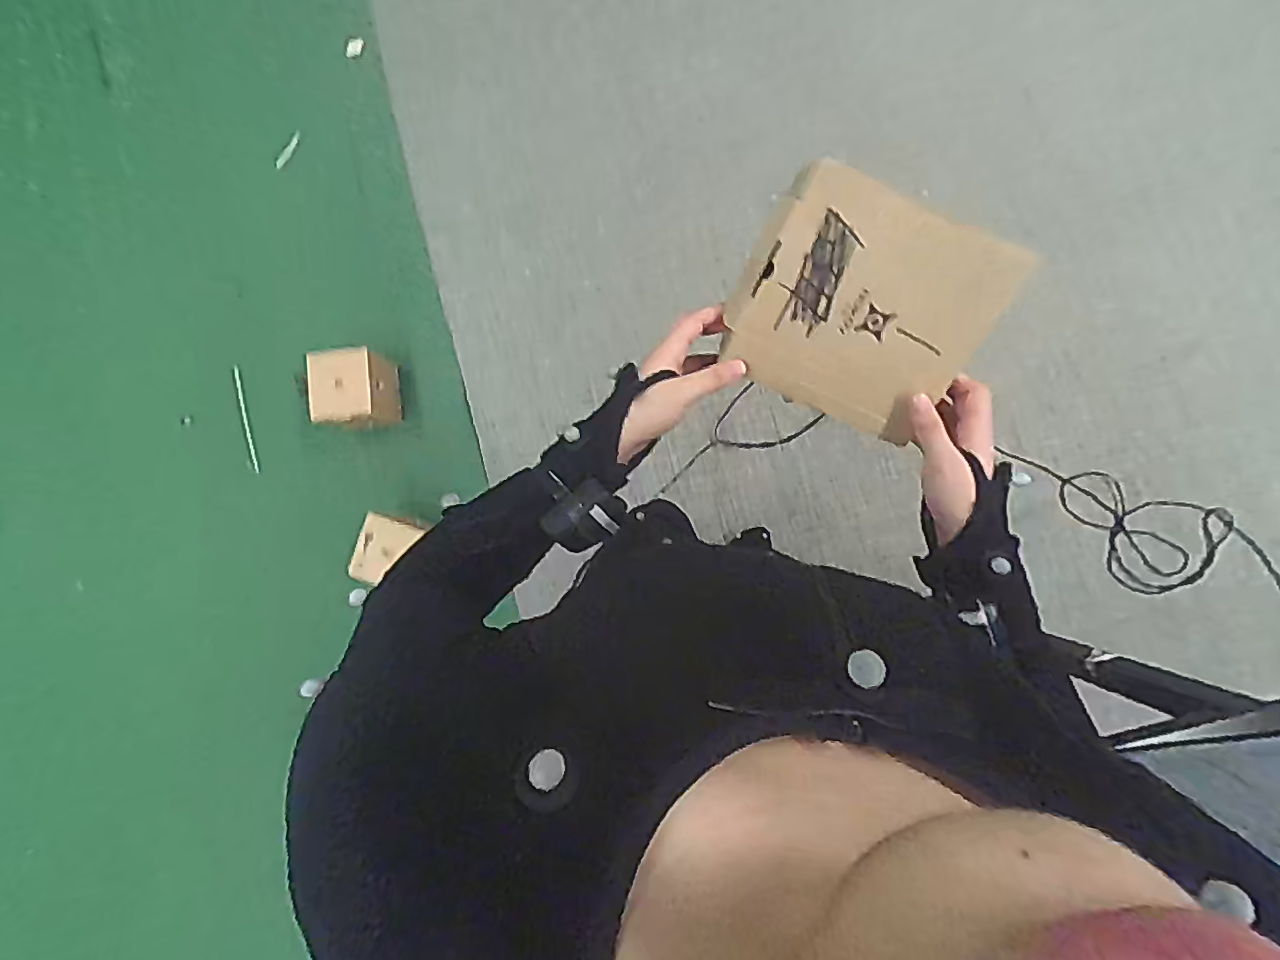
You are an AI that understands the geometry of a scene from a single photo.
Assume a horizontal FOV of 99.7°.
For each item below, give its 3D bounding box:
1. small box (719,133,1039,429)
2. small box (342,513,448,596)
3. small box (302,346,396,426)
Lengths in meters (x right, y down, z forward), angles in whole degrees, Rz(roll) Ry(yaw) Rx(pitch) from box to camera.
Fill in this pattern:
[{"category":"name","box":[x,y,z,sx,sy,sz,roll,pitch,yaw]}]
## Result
[{"category":"small box","box":[0.181,-0.172,0.479,0.179,0.176,0.168,22,116,-2]},{"category":"small box","box":[-0.638,0.189,1.431,0.179,0.176,0.168,19,88,3]},{"category":"small box","box":[-0.781,-0.247,1.466,0.168,0.176,0.179,-6,85,1]}]
